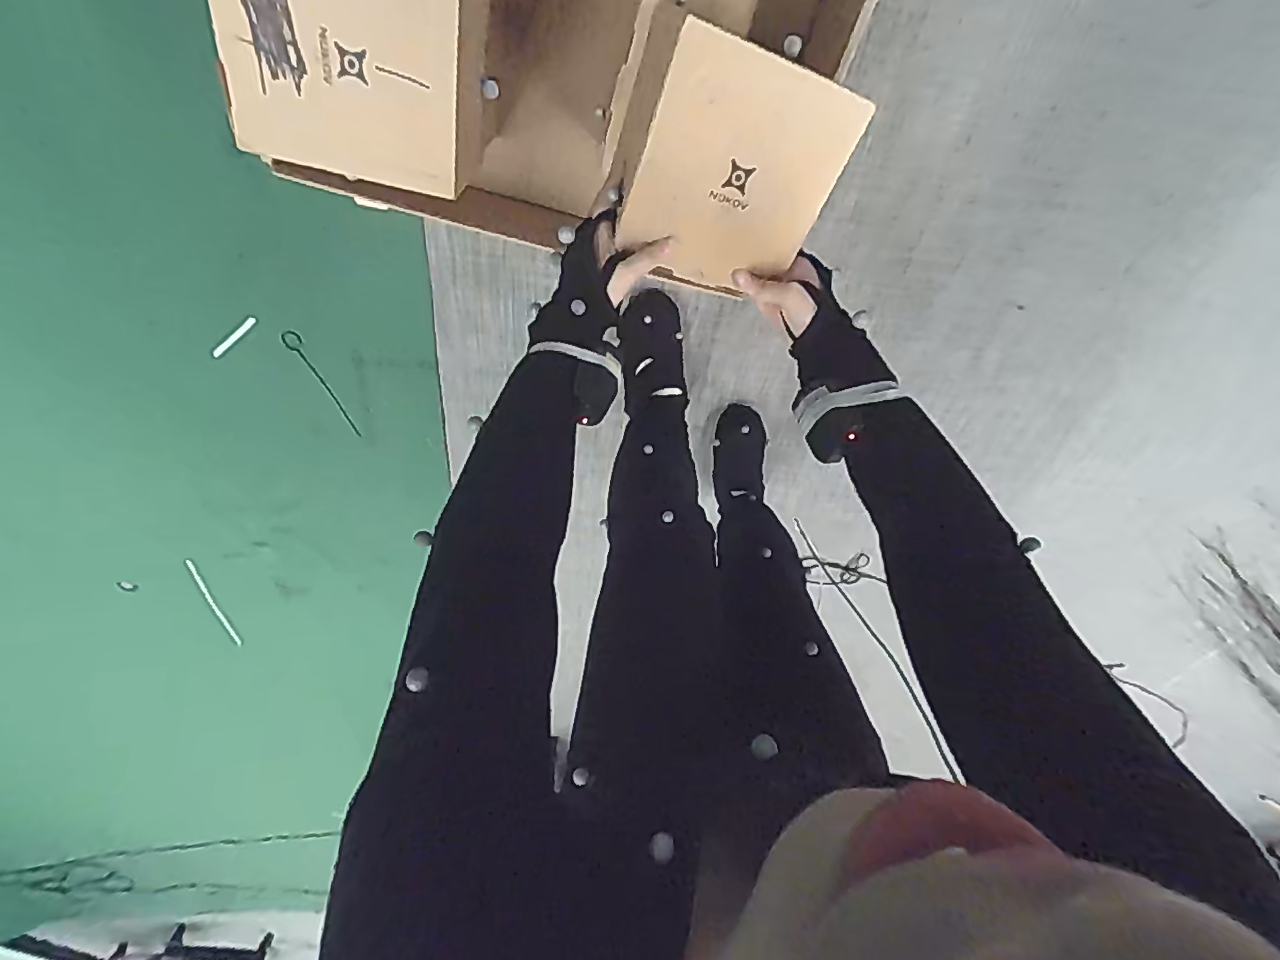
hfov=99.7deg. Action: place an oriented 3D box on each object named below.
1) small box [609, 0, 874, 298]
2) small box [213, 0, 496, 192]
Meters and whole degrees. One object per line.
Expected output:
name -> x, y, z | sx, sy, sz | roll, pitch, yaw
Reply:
small box -> 0.072, -0.310, 0.508 | 0.168, 0.176, 0.179 | 11, 133, -18
small box -> -0.231, -0.378, 0.470 | 0.179, 0.176, 0.168 | 8, 130, -13
